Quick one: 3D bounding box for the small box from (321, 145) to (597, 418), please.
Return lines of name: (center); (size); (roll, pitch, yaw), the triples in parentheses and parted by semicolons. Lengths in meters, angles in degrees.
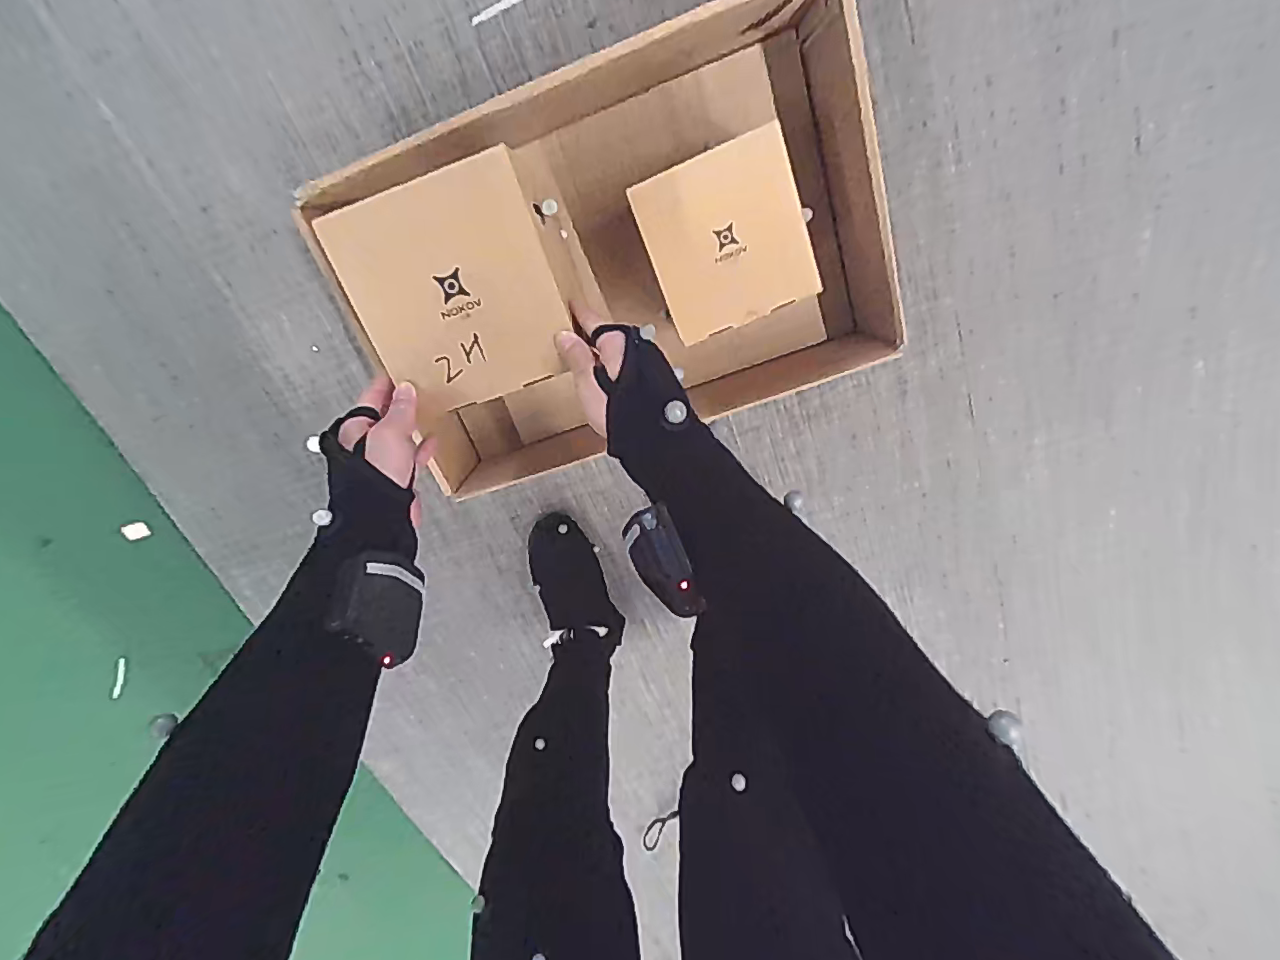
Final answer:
small box: (-0.148, -0.183, 0.517); (0.168, 0.176, 0.179); (-17, 112, 8)
